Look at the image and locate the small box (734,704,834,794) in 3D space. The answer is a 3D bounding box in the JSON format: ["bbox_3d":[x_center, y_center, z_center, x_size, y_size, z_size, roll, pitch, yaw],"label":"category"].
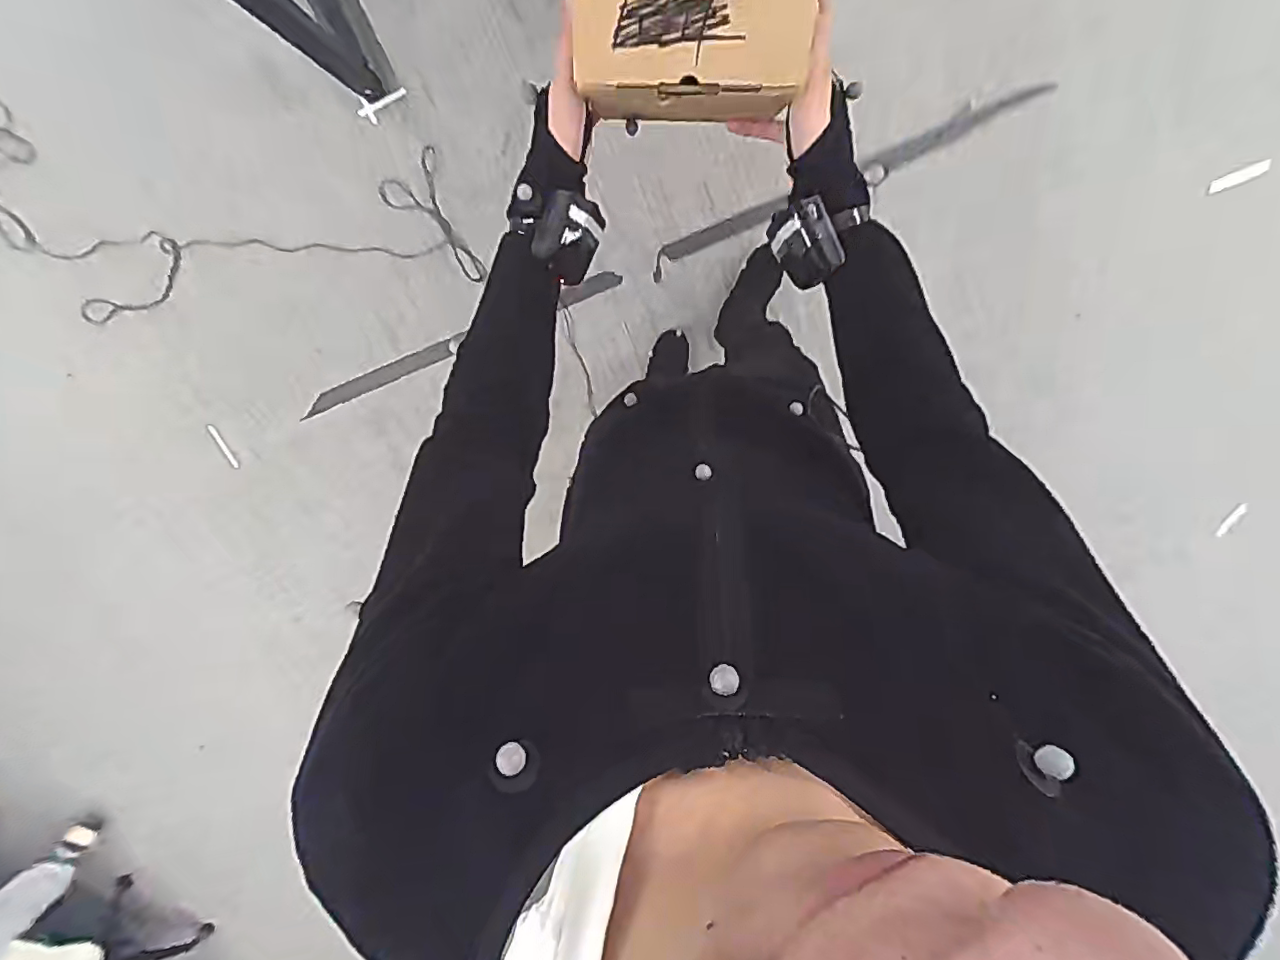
[{"bbox_3d":[0.319,0.626,1.168,0.168,0.176,0.179,-25,107,6],"label":"small box"}]

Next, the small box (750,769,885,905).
[{"bbox_3d":[0.322,0.676,1.010,0.168,0.176,0.179,-24,106,6],"label":"small box"}]

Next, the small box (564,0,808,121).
[{"bbox_3d":[0.037,-0.387,0.414,0.168,0.176,0.179,2,116,2],"label":"small box"}]
